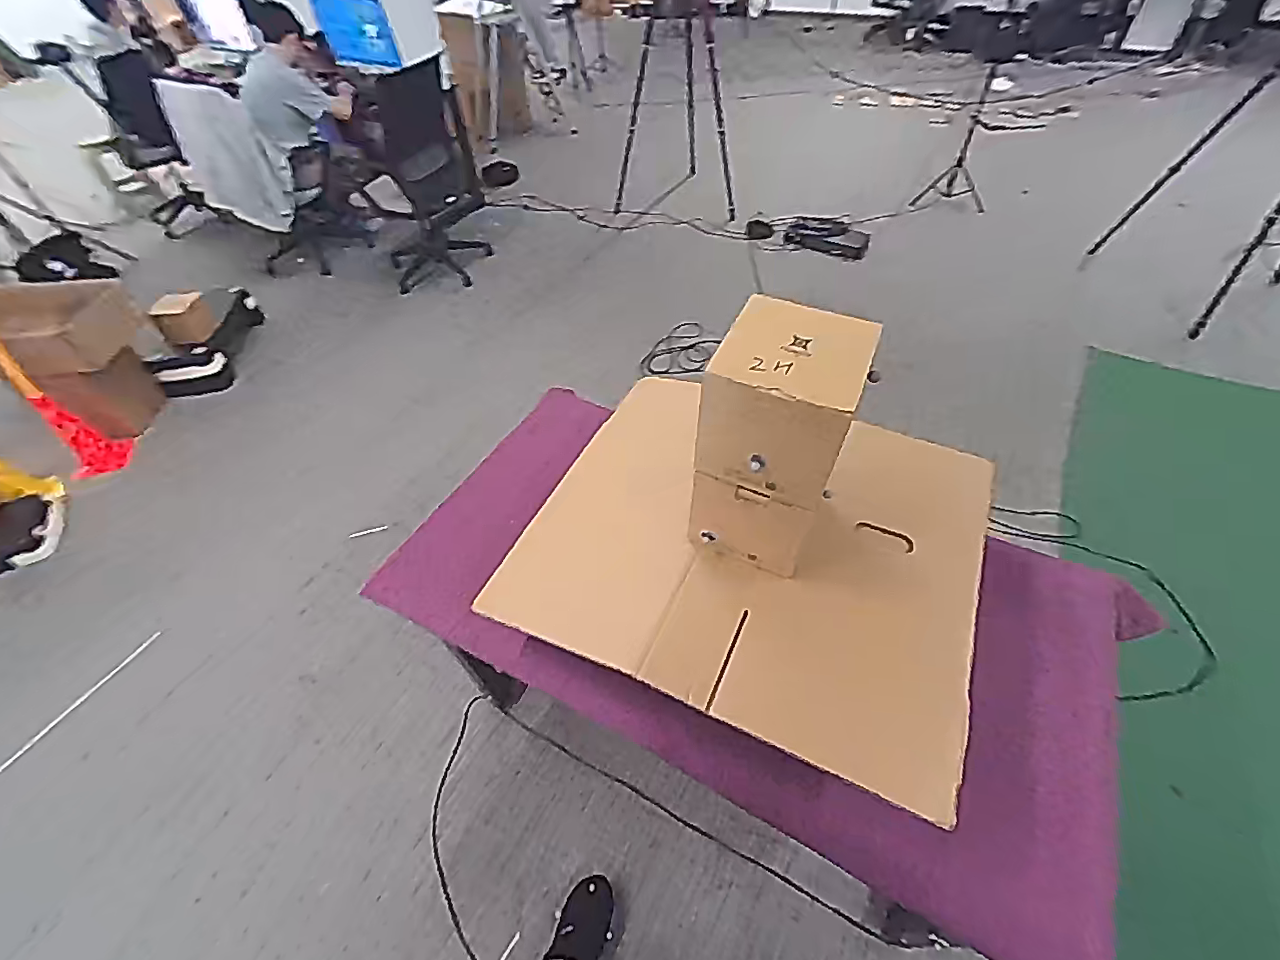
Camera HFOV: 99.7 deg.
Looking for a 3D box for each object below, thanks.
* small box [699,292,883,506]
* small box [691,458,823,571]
[{"bbox_3d":[0.180,-0.101,0.678,0.168,0.176,0.179,20,54,17],"label":"small box"},{"bbox_3d":[0.182,0.006,0.803,0.168,0.176,0.179,21,53,16],"label":"small box"}]
